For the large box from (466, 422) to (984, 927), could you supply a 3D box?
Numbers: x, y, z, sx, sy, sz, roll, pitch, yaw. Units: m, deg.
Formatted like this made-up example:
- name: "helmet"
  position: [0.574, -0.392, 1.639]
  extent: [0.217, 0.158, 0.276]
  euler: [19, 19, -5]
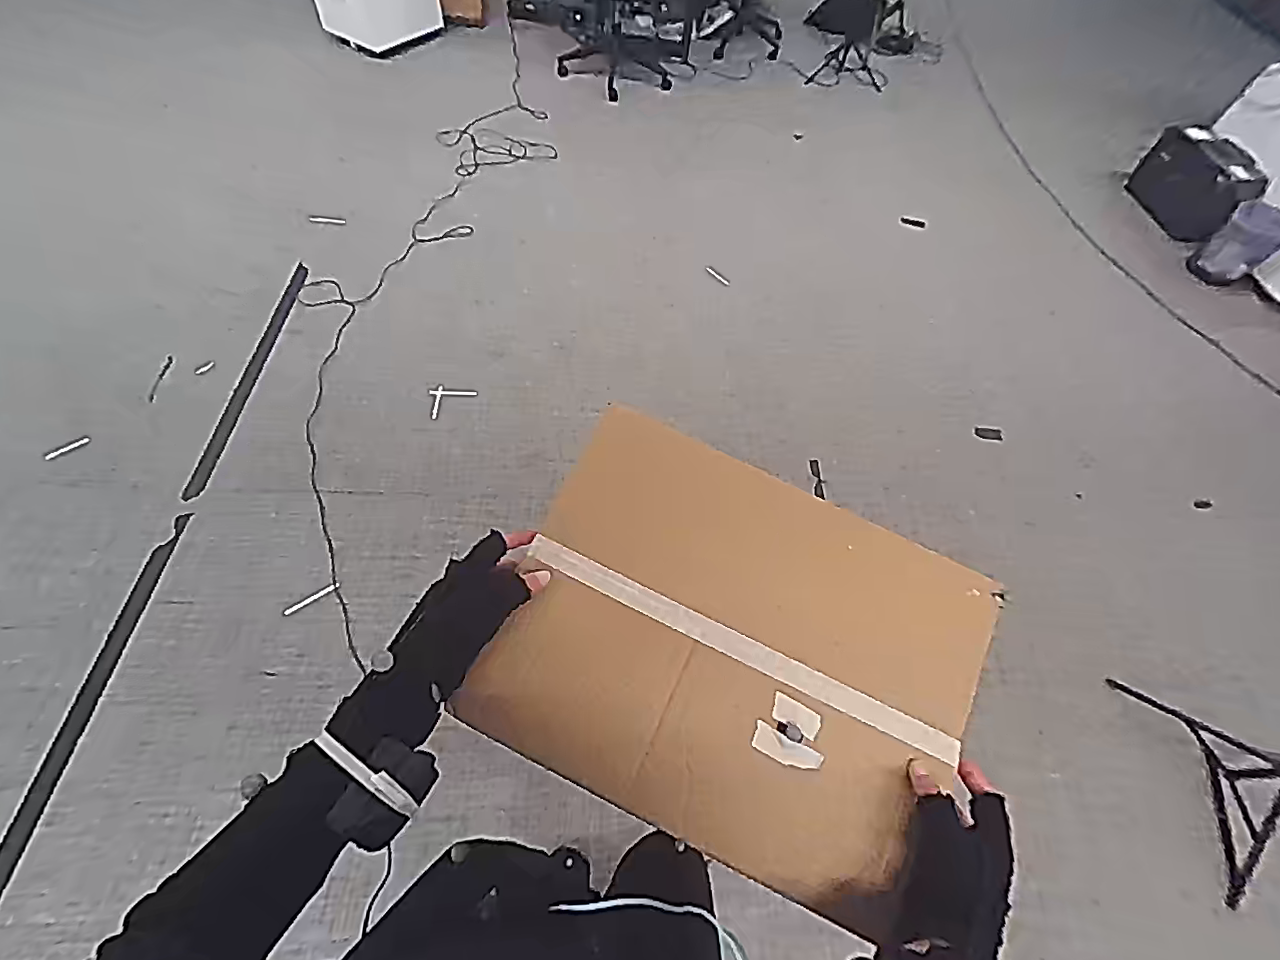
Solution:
- name: "large box"
  position: [0.080, 0.192, 0.635]
  extent: [0.408, 0.320, 0.320]
  euler: [26, 75, 4]
